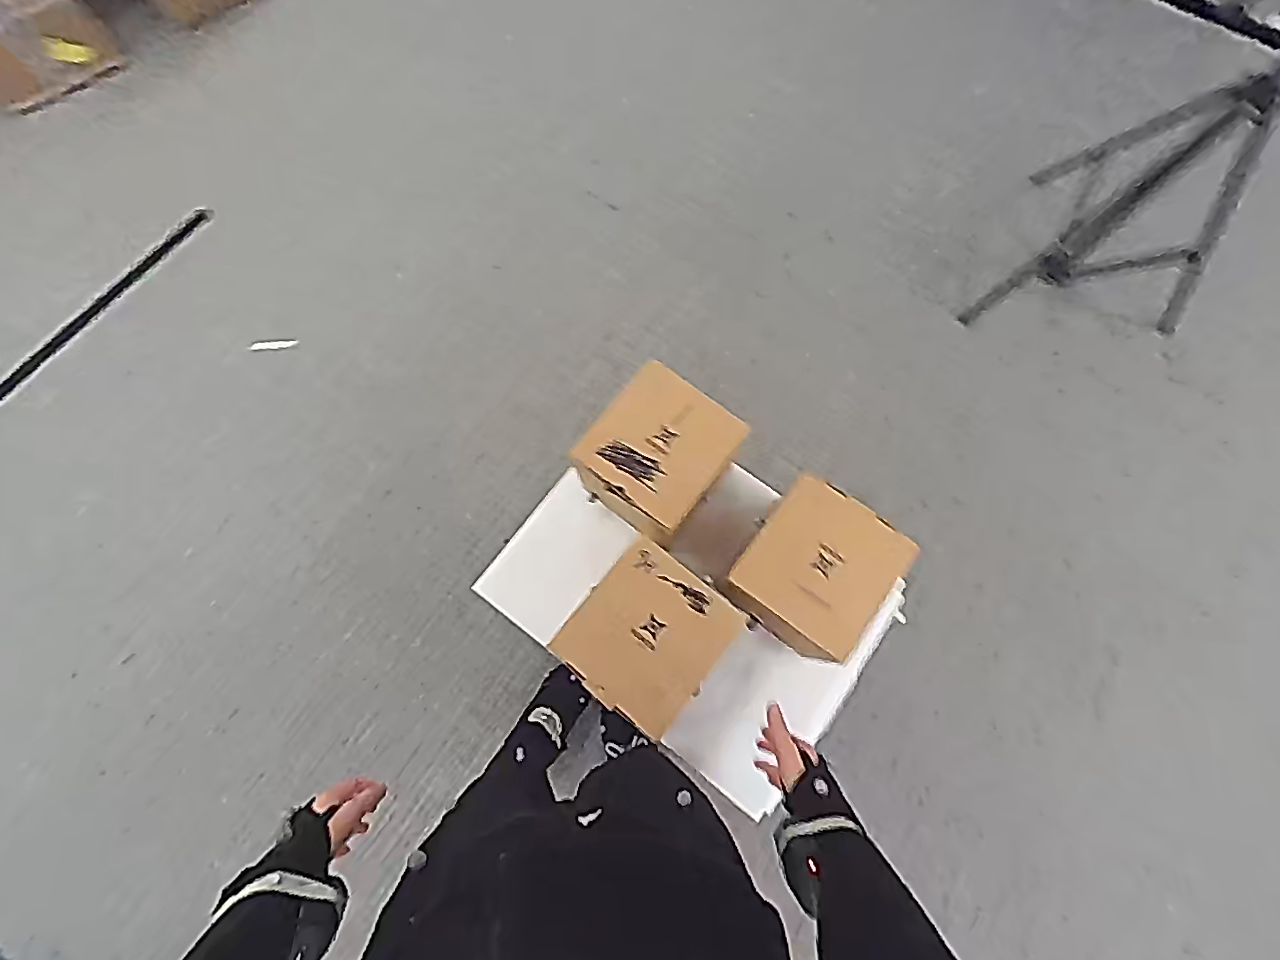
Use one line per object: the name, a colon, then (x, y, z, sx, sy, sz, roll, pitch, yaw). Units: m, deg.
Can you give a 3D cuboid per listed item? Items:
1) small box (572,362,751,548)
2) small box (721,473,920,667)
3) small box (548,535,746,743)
small box: (0.030, -0.025, 0.767, 0.168, 0.176, 0.179, 38, 77, 10)
small box: (0.224, 0.124, 0.725, 0.168, 0.176, 0.179, 37, 78, 11)
small box: (0.010, 0.201, 0.702, 0.168, 0.176, 0.179, 39, 77, 10)
